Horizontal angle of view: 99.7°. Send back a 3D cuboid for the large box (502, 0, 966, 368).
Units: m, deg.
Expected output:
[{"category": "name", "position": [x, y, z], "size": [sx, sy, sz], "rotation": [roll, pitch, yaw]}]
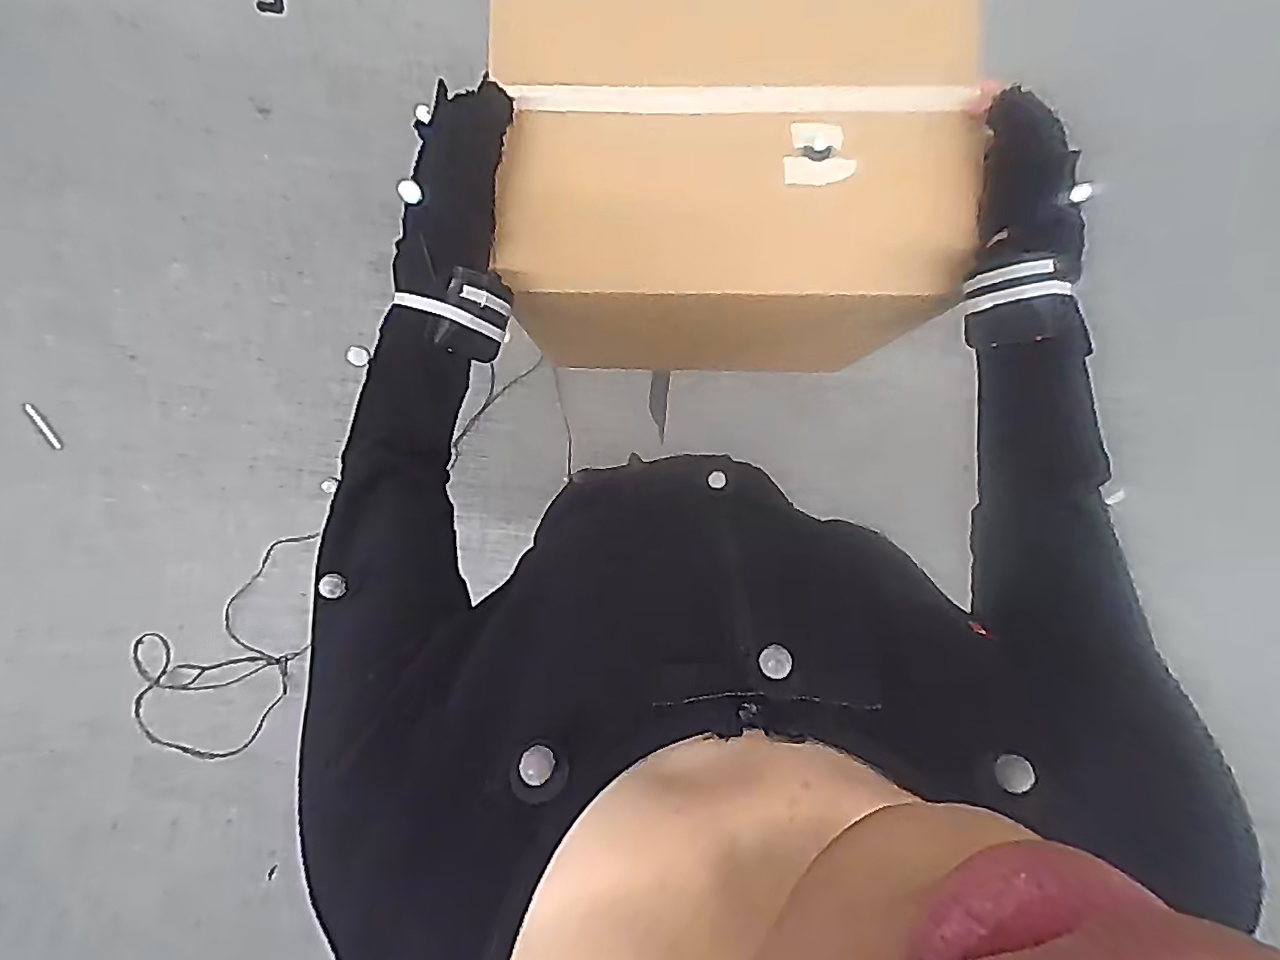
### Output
[{"category": "large box", "position": [0.079, -0.315, 0.612], "size": [0.408, 0.320, 0.320], "rotation": [0, 90, 0]}]
